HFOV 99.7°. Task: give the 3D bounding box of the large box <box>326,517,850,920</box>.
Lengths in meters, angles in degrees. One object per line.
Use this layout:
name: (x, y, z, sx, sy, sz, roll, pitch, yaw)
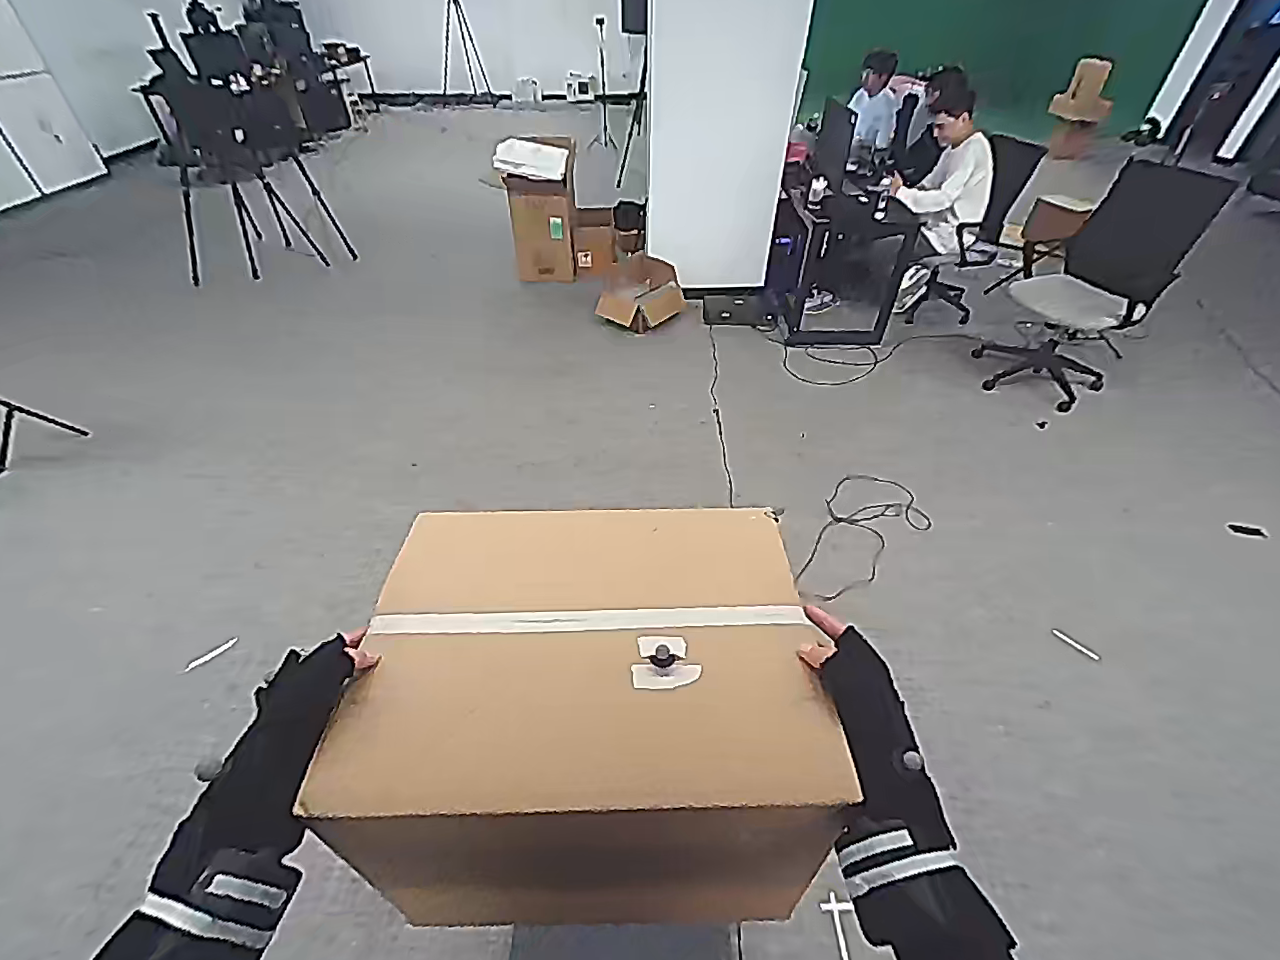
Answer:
large box: (-0.042, 0.258, 0.610, 0.408, 0.320, 0.320, 0, 39, -1)
